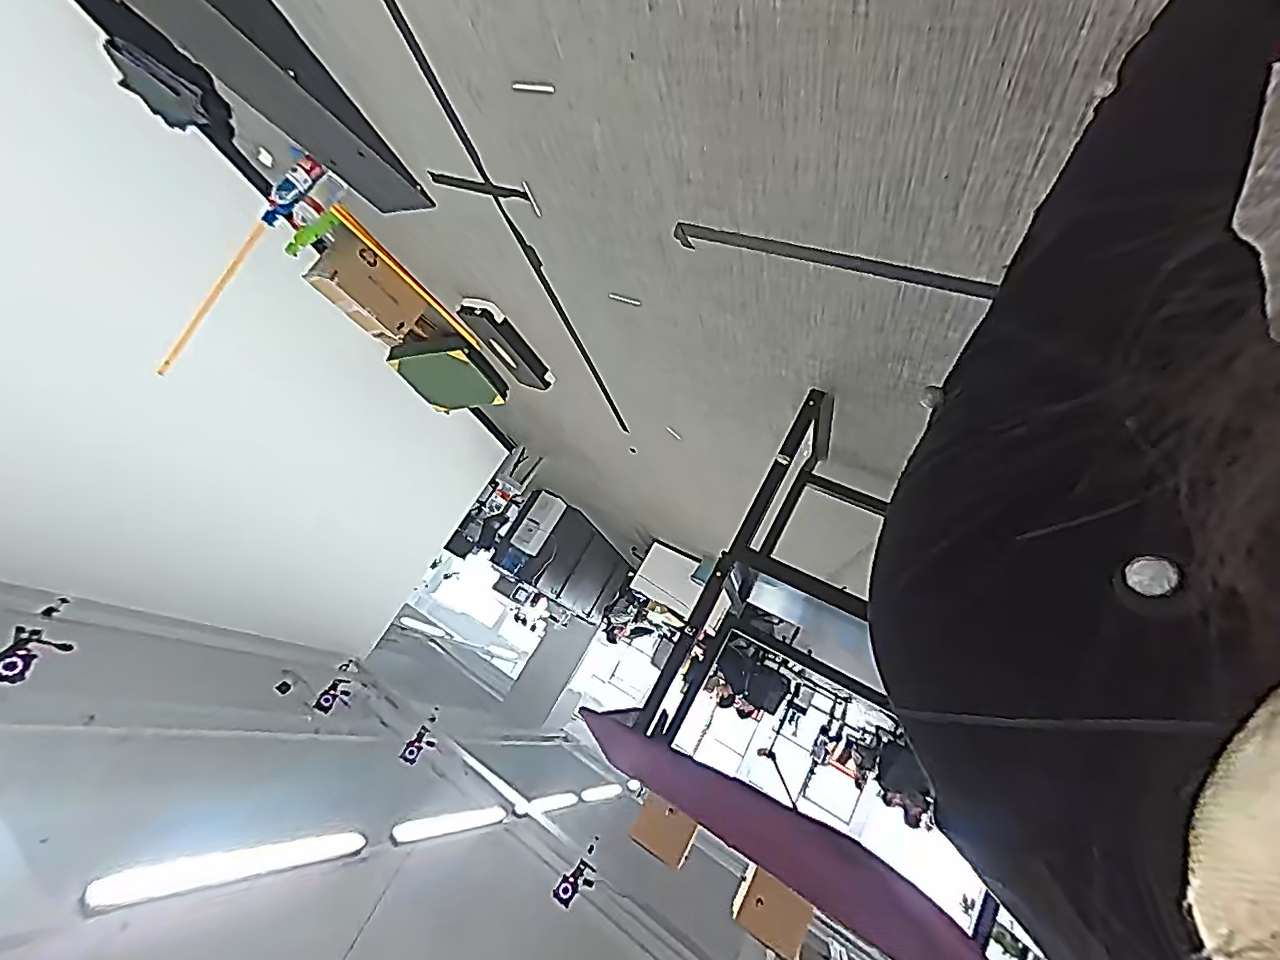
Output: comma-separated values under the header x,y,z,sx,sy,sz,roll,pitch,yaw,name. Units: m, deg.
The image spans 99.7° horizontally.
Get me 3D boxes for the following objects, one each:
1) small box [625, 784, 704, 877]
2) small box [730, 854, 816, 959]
x,y,z,sx,sy,sz,roll,pitch,yaw,name
0.081,1.084,1.692,0.179,0.176,0.168,25,164,22,small box
0.368,1.195,1.515,0.179,0.176,0.168,25,164,18,small box
